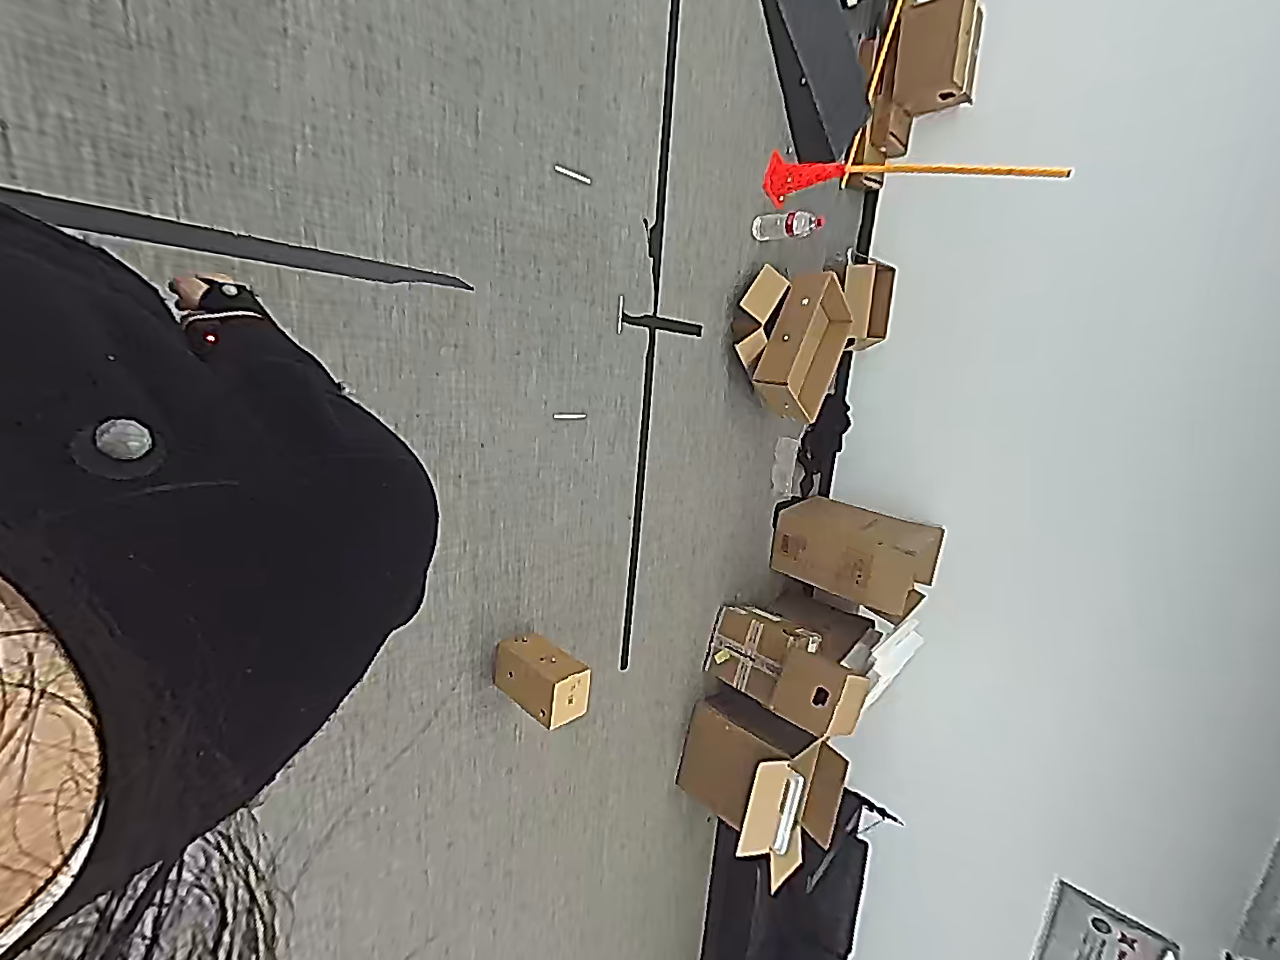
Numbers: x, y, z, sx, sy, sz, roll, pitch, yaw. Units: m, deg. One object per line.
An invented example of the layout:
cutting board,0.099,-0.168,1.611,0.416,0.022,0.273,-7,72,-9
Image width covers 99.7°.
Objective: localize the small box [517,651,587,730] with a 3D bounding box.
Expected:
small box,-0.310,0.725,1.881,0.168,0.176,0.179,-4,104,-49
